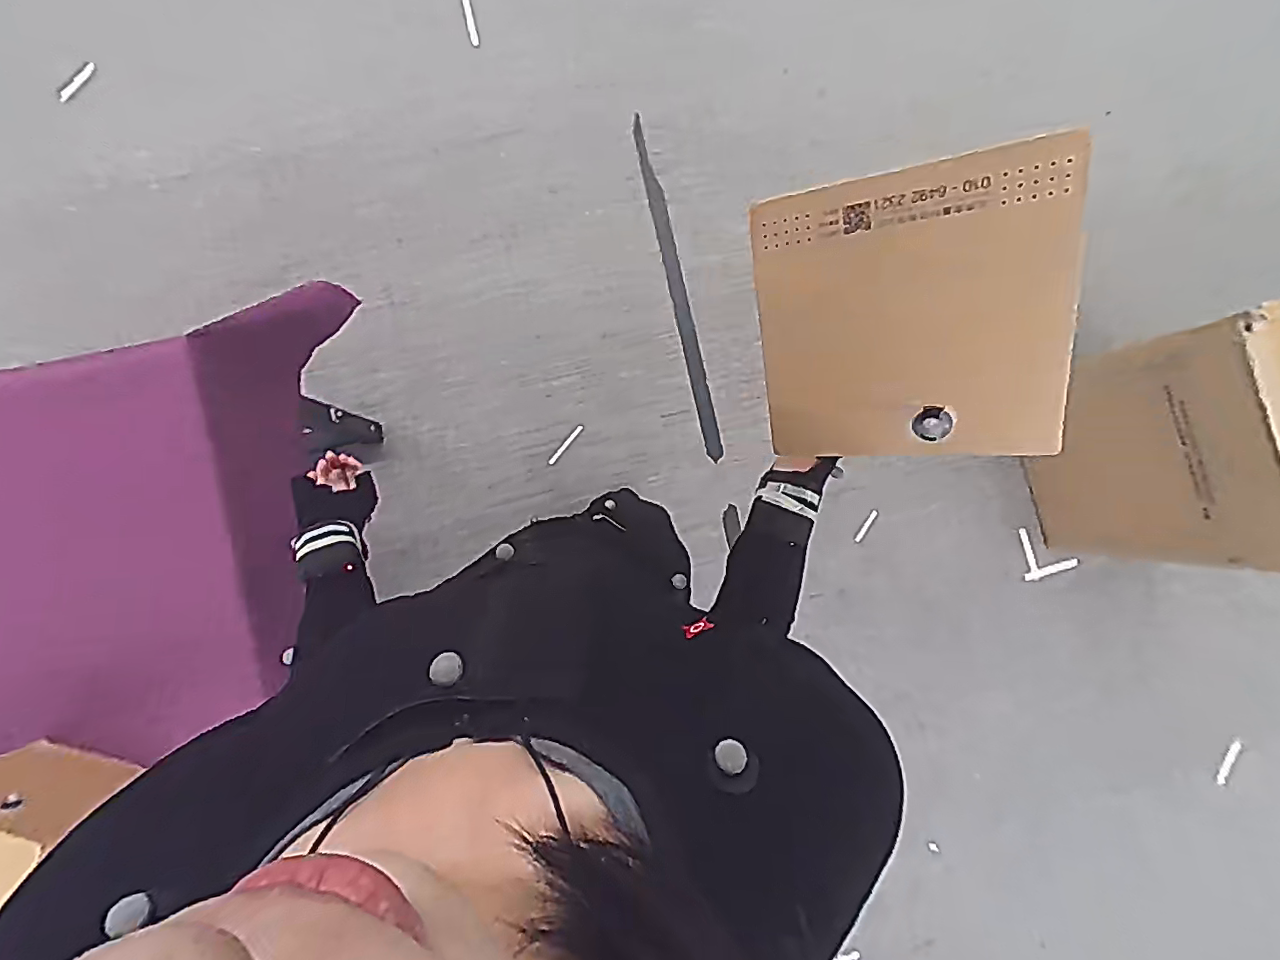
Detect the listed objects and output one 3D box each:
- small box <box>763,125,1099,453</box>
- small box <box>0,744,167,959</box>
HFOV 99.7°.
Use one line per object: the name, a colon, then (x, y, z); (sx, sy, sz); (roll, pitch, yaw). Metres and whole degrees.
small box: (0.192, -0.129, 0.378); (0.168, 0.179, 0.176); (1, 116, 29)
small box: (-0.748, 0.452, 0.662); (0.179, 0.176, 0.168); (17, 85, -1)
